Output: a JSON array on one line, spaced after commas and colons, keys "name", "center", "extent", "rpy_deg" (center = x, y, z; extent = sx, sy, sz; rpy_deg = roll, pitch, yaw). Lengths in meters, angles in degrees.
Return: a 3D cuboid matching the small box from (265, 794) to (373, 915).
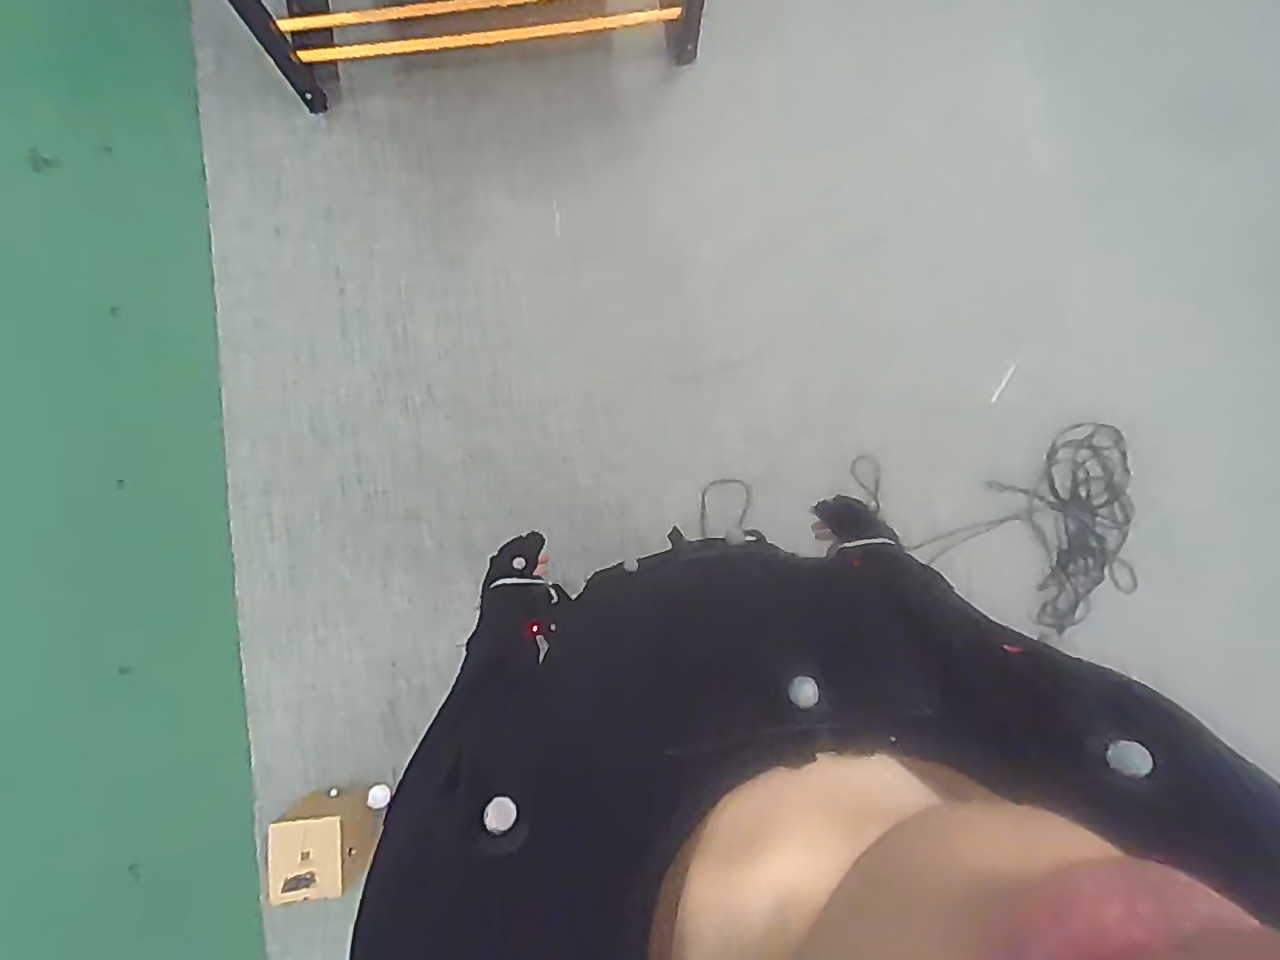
[{"name": "small box", "center": [-0.754, 0.881, 1.286], "extent": [0.168, 0.176, 0.179], "rpy_deg": [-5, 81, -2]}]
